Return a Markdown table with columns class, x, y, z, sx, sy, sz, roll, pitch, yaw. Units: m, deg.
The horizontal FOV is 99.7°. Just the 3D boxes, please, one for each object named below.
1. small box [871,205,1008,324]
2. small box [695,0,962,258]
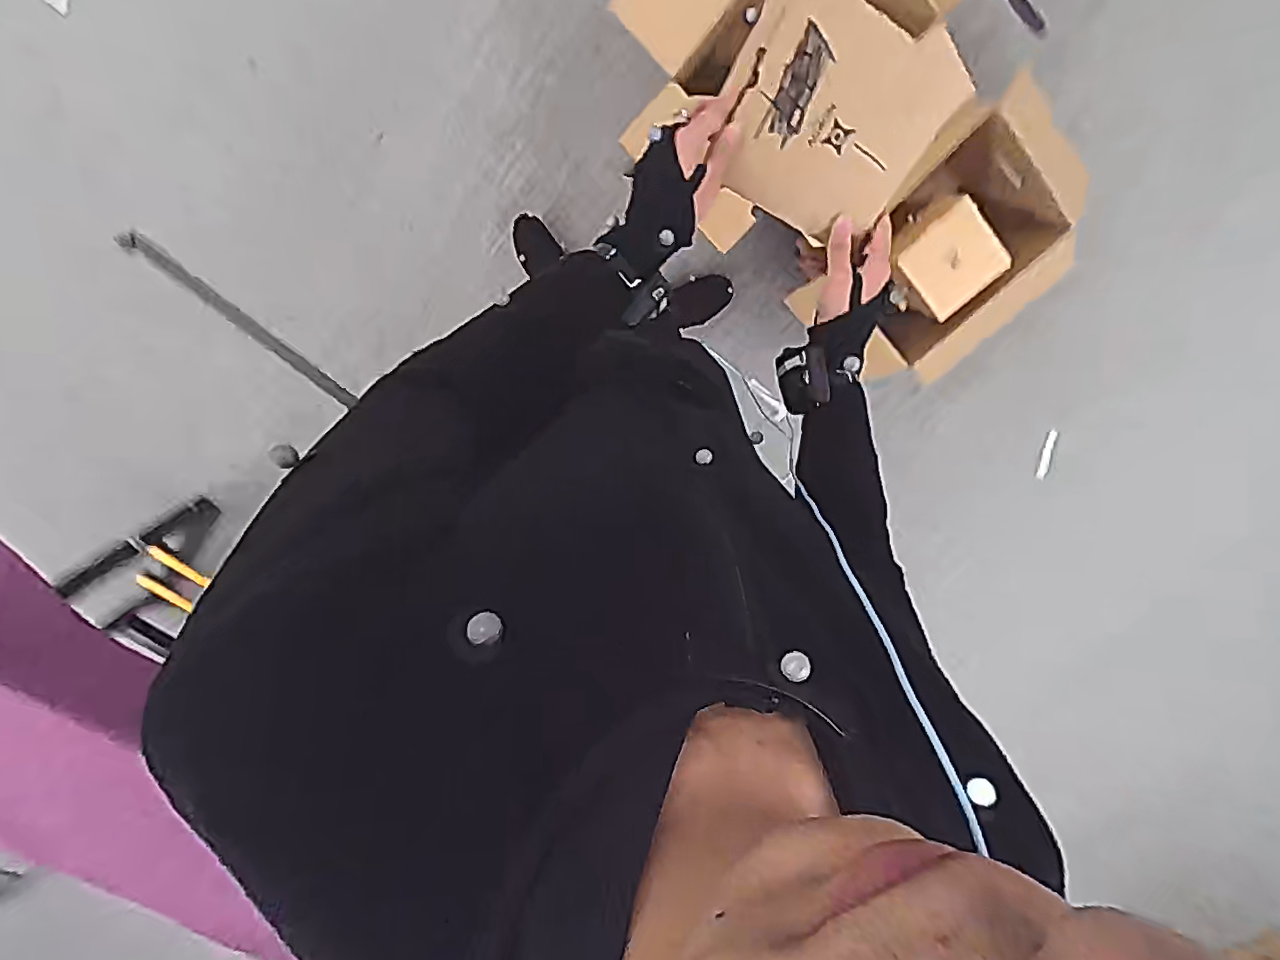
| class | x | y | z | sx | sy | sz | roll | pitch | yaw |
| --- | --- | --- | --- | --- | --- | --- | --- | --- | --- |
| small box | 0.644 | -0.475 | 1.181 | 0.179 | 0.176 | 0.168 | 42 | 111 | -17 |
| small box | 0.169 | -0.361 | 0.552 | 0.179 | 0.176 | 0.168 | 22 | 124 | -15 |
